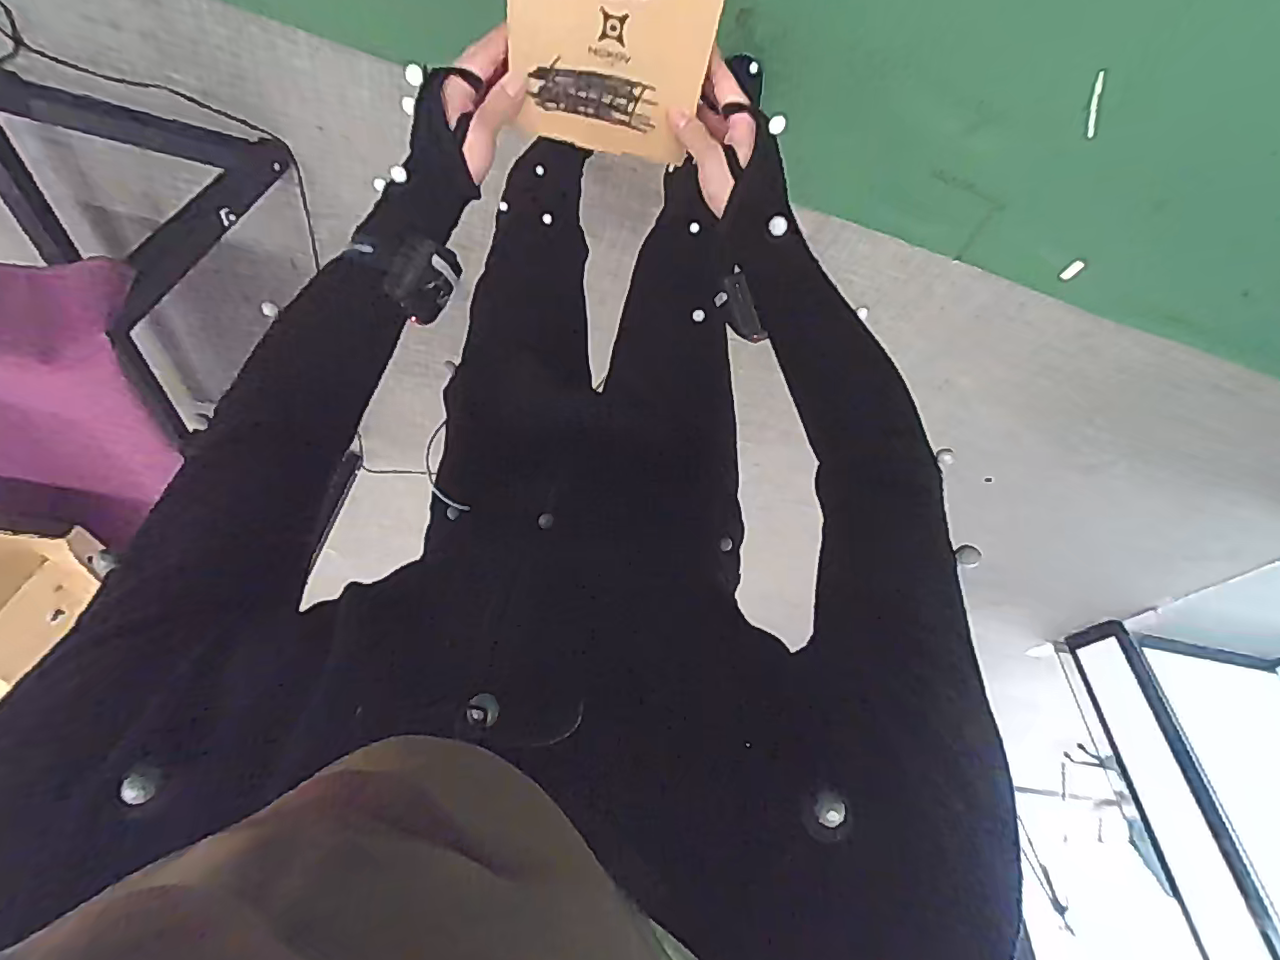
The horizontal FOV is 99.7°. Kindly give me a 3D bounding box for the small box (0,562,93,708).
[{"bbox_3d":[-1.025,0.229,0.828,0.179,0.176,0.168,10,140,-9],"label":"small box"}]
